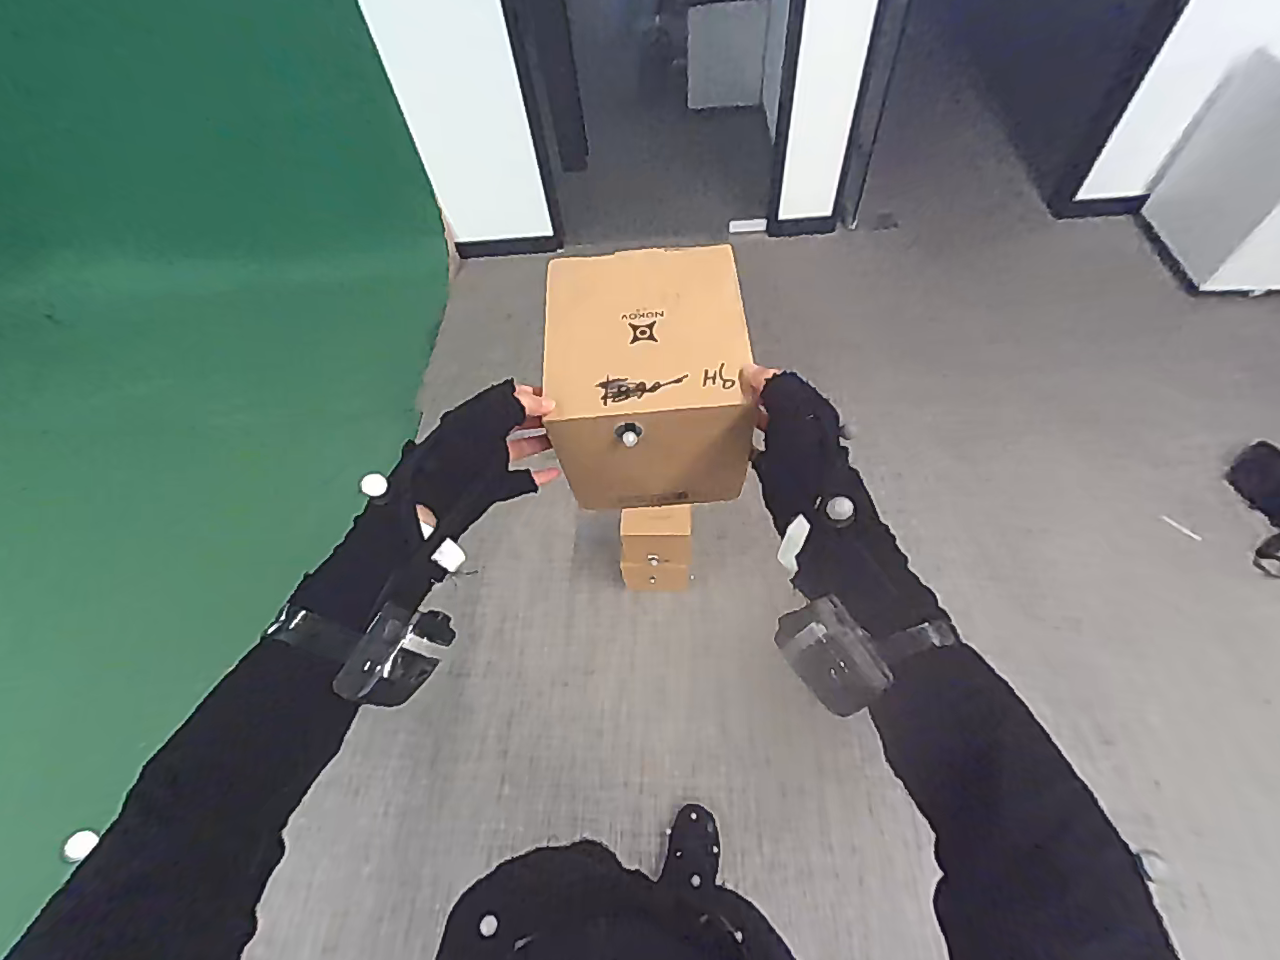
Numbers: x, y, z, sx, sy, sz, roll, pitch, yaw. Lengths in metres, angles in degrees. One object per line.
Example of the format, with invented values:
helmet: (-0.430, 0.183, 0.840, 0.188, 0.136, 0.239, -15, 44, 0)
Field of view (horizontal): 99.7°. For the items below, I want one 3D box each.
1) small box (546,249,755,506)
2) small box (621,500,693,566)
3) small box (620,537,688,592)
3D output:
small box: (0.010, -0.092, 0.527, 0.168, 0.176, 0.179, -4, 61, 3)
small box: (0.047, 0.102, 1.365, 0.168, 0.176, 0.179, -1, 56, 7)
small box: (0.046, 0.200, 1.494, 0.179, 0.176, 0.168, 0, 55, 7)
